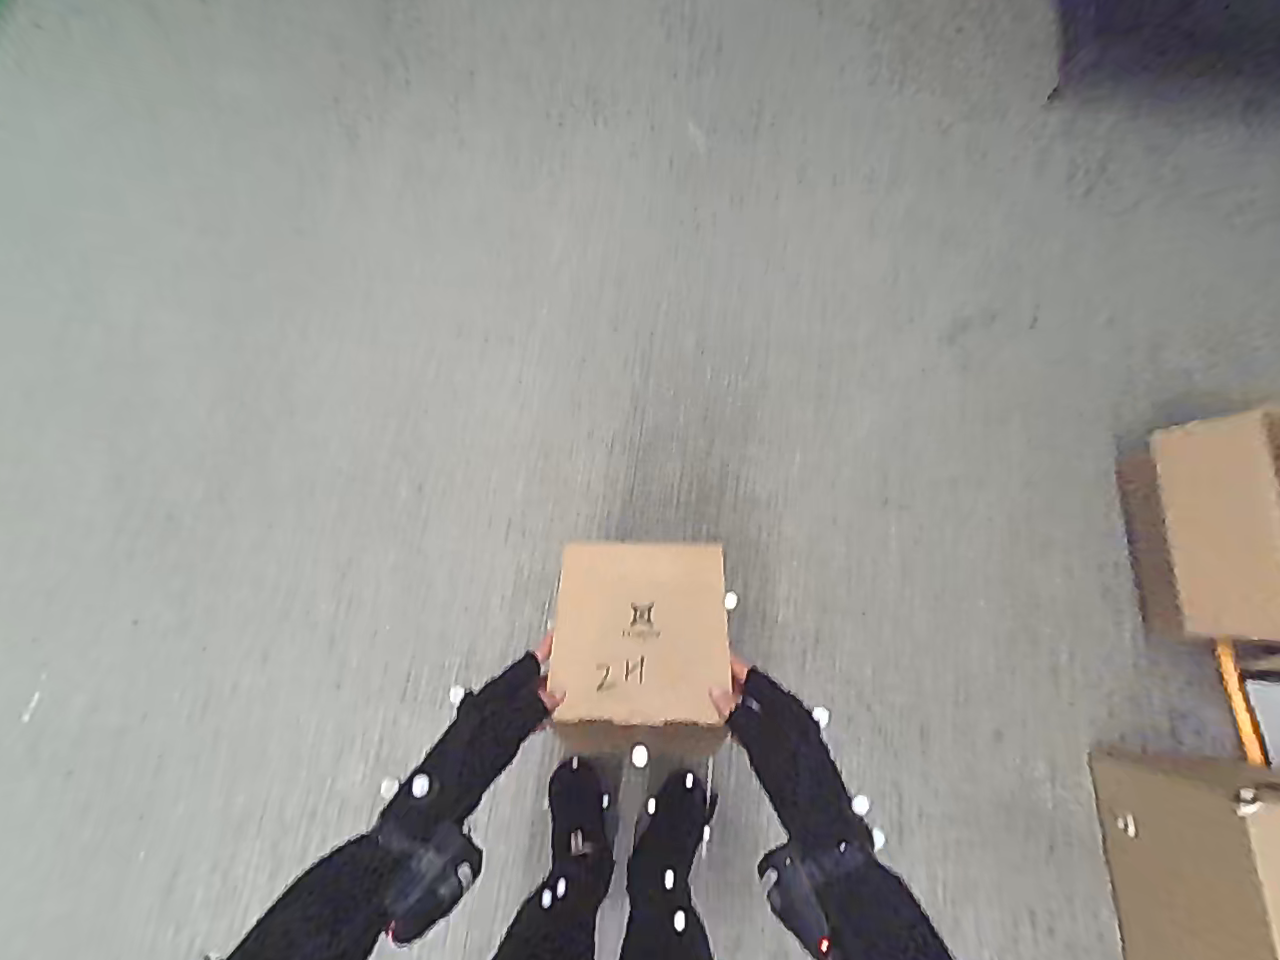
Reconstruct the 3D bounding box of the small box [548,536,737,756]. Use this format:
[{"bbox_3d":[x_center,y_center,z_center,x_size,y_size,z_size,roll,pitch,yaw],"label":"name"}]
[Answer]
[{"bbox_3d":[0.006,0.177,0.571,0.168,0.176,0.179,1,54,2],"label":"small box"}]
